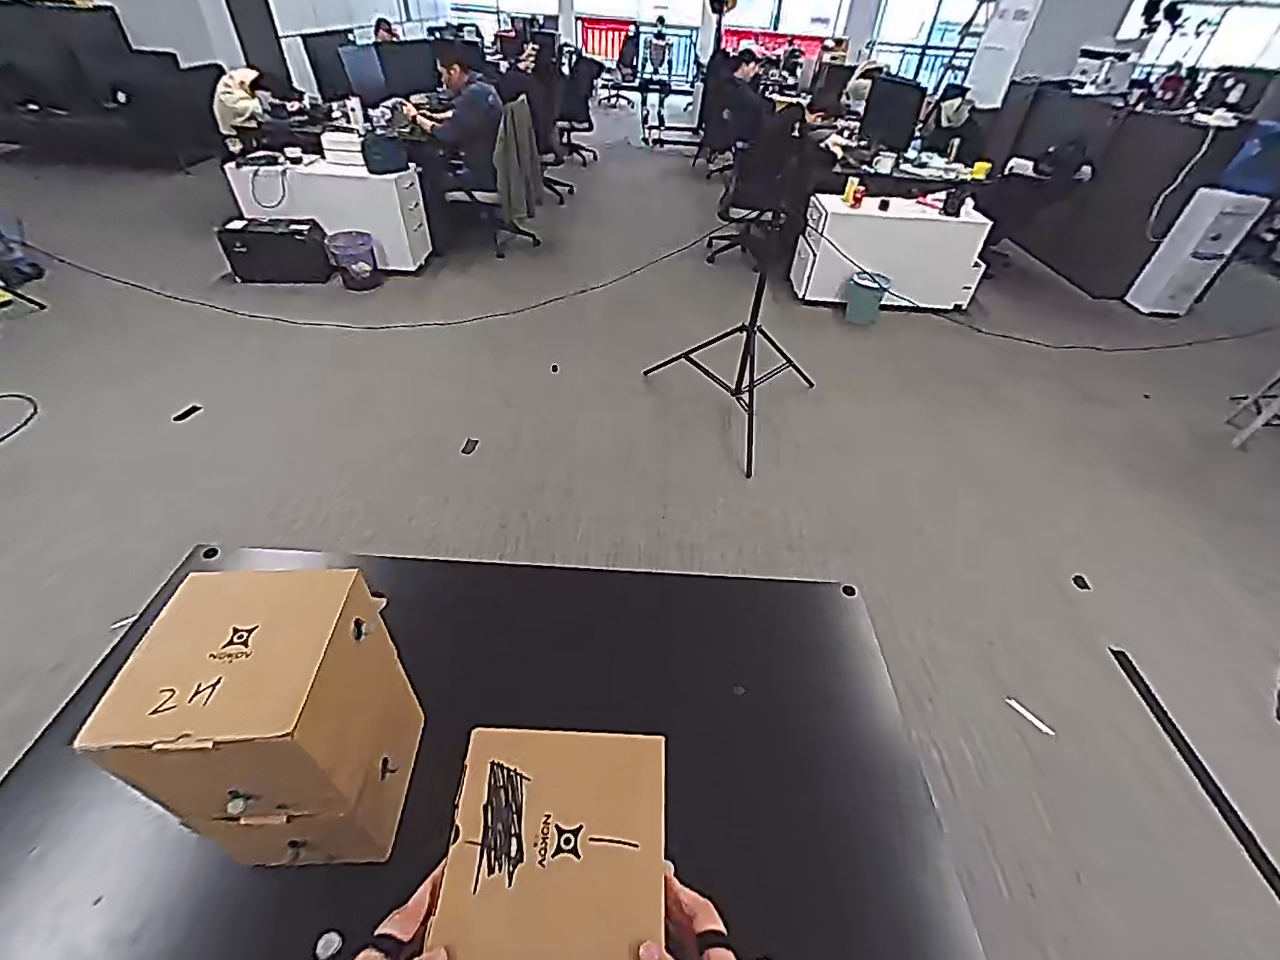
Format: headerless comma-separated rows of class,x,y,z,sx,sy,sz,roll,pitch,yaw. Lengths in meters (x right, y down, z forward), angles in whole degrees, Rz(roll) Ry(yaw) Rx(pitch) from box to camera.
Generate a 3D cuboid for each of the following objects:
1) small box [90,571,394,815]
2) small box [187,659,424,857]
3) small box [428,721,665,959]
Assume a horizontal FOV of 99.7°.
small box,-0.369,0.213,0.551,0.168,0.176,0.179,-1,42,-5
small box,-0.379,0.340,0.658,0.168,0.176,0.179,0,42,-4
small box,-0.068,0.339,0.504,0.179,0.176,0.168,3,49,-1
